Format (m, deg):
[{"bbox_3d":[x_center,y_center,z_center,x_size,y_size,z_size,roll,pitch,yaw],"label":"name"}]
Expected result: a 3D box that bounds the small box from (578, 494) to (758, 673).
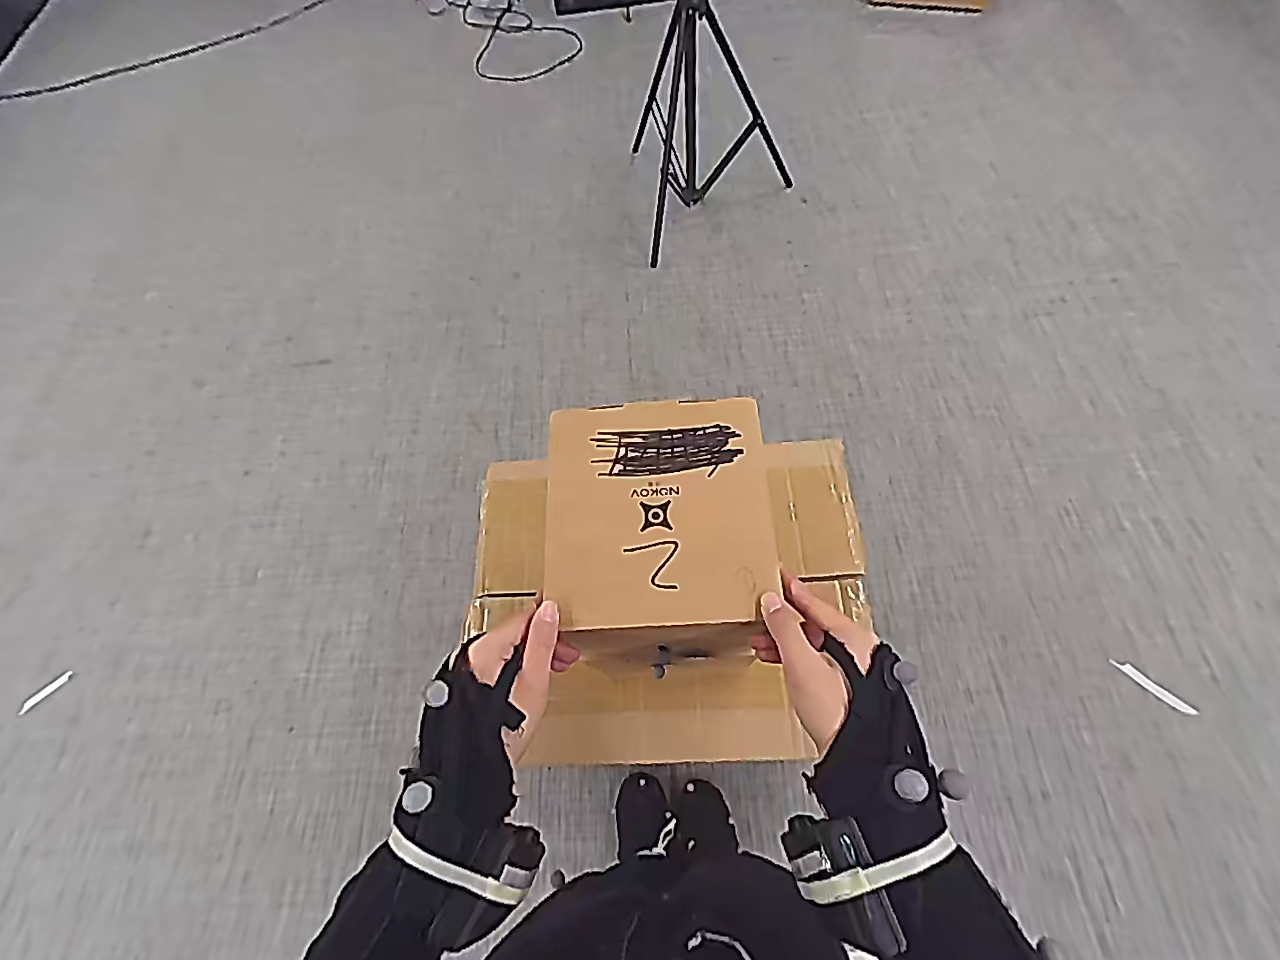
[{"bbox_3d":[0.032,0.126,0.621,0.179,0.176,0.168,-3,65,4],"label":"small box"}]
